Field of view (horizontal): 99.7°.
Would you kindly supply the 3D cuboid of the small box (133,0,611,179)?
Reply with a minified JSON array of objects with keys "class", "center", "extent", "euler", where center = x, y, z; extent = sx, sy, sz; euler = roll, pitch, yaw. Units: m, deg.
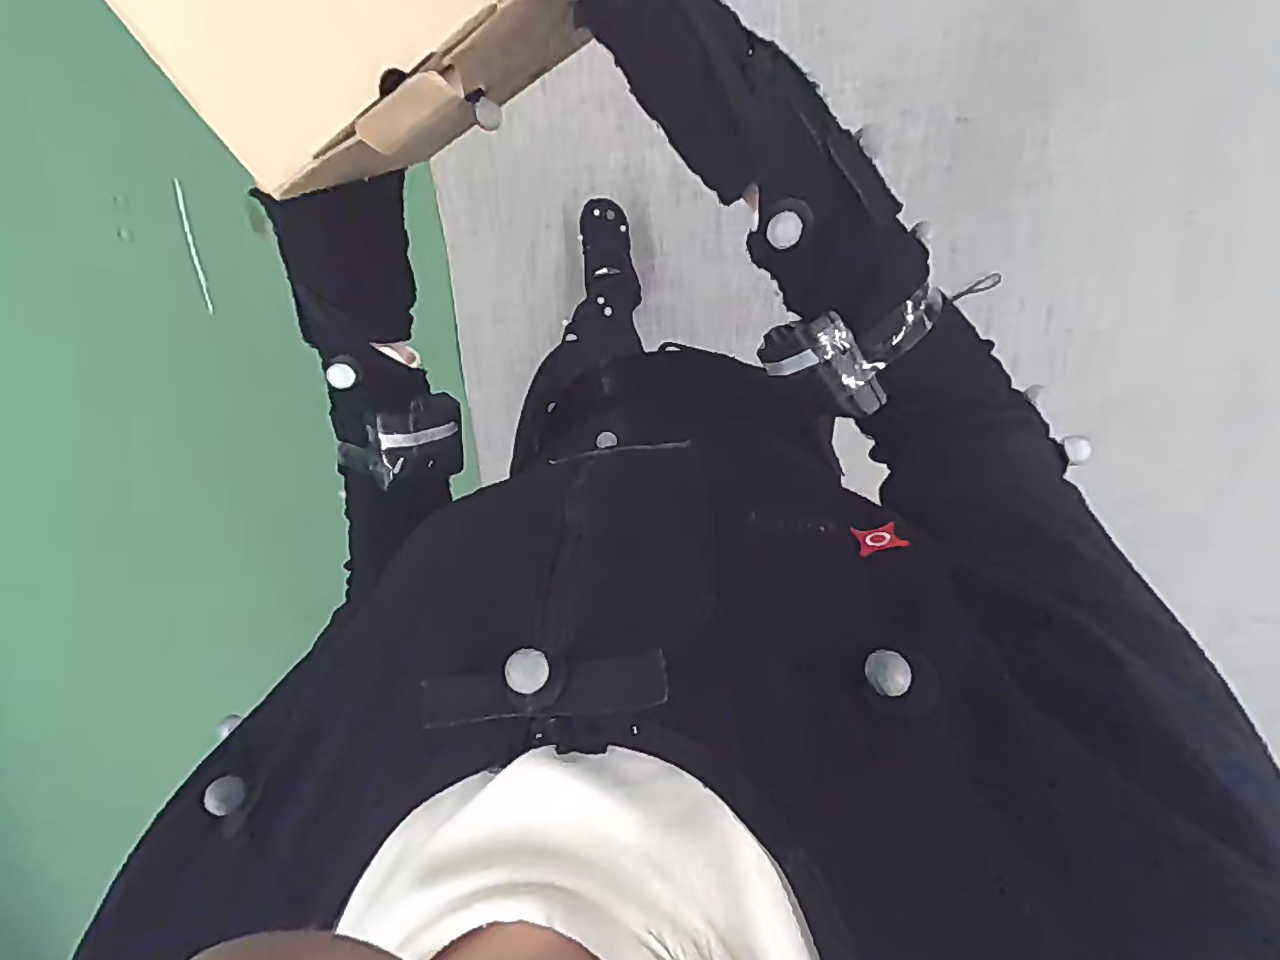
[{"class":"small box","center":[-0.127,-0.274,0.244],"extent":[0.168,0.176,0.179],"euler":[-20,121,20]}]
